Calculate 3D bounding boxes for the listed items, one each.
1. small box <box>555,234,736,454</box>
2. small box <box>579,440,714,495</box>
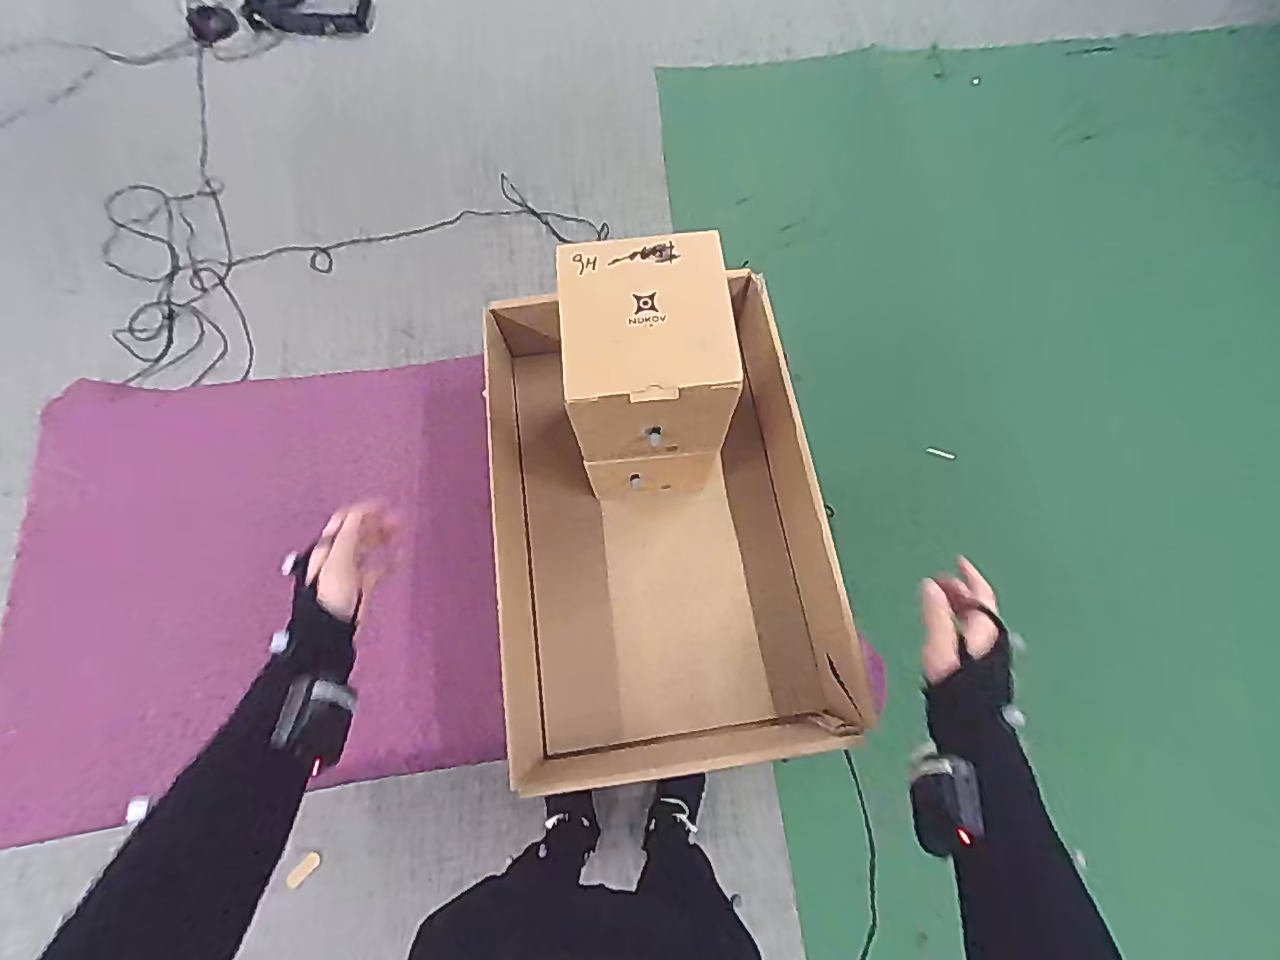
[{"bbox_3d":[0.004,-0.134,0.593,0.168,0.176,0.179,-5,73,-1],"label":"small box"},{"bbox_3d":[0.005,-0.083,0.748,0.168,0.176,0.179,-6,73,0],"label":"small box"}]
